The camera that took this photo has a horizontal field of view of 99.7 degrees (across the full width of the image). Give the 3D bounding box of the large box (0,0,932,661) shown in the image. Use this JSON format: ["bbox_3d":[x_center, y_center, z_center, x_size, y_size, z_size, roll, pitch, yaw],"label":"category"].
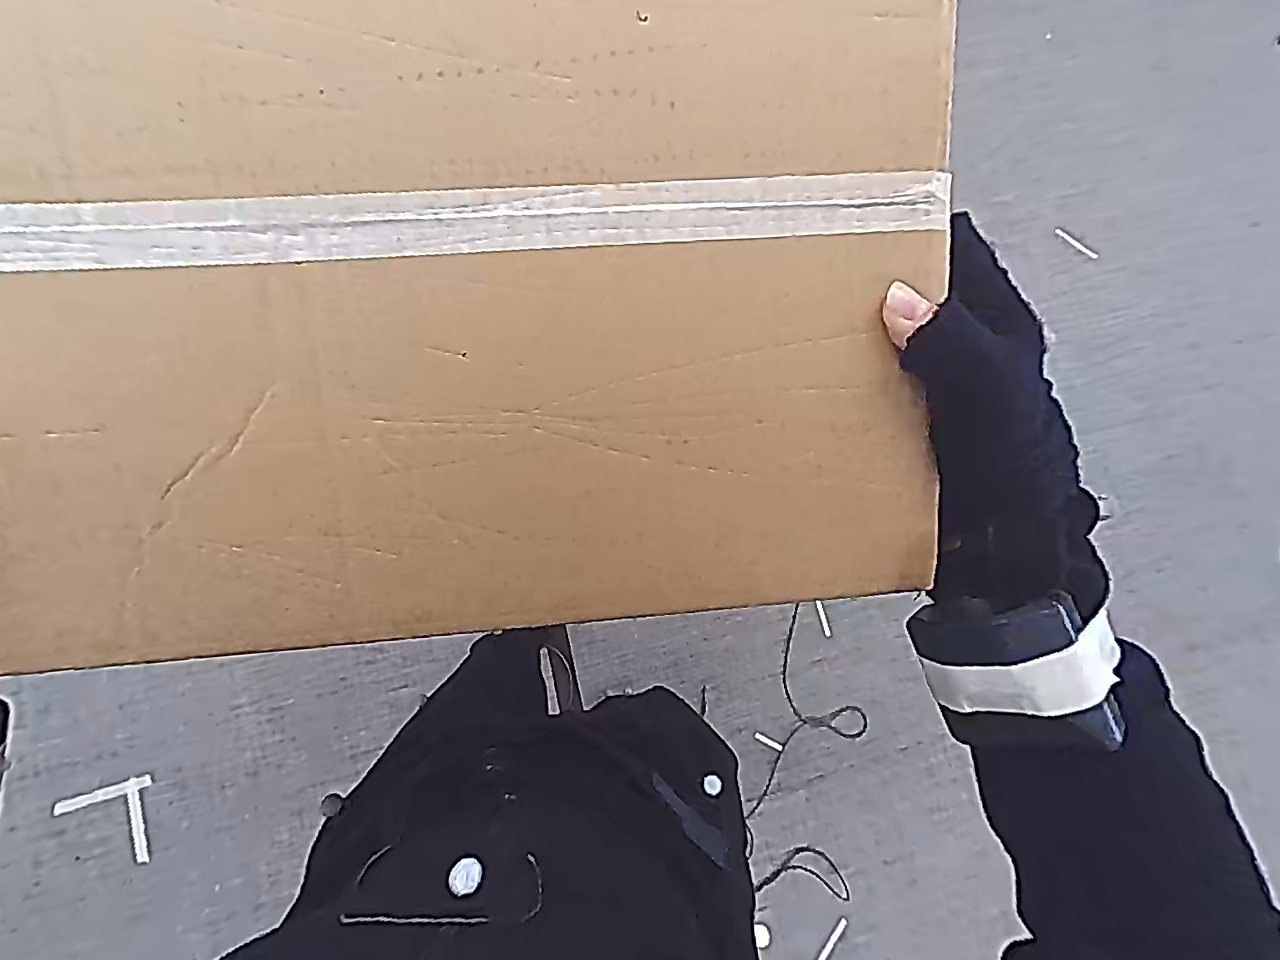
[{"bbox_3d":[-0.094,-0.118,0.352,0.408,0.320,0.320,-4,100,-5],"label":"large box"}]
